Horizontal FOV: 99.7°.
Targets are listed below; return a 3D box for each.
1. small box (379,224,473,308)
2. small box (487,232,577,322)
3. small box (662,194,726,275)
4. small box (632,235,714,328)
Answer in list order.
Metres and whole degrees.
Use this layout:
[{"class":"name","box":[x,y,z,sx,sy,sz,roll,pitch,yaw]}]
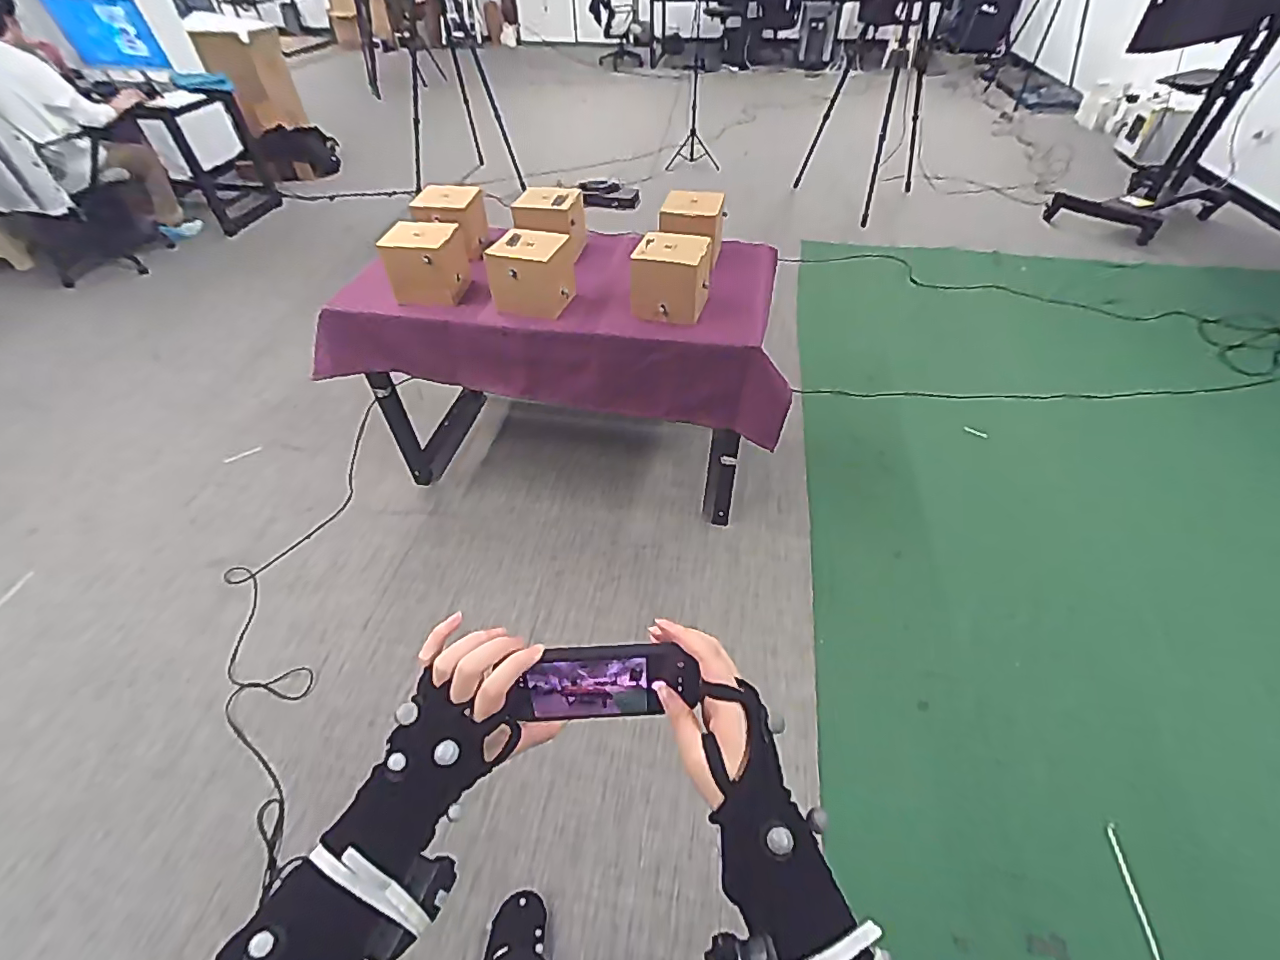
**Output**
[{"class":"small box","box":[-0.589,-0.597,1.511,0.179,0.176,0.168,4,46,3]},{"class":"small box","box":[-0.284,-0.546,1.458,0.179,0.176,0.168,13,48,11]},{"class":"small box","box":[0.161,-0.743,1.640,0.168,0.176,0.179,10,48,11]},{"class":"small box","box":[0.085,-0.522,1.430,0.179,0.176,0.168,13,47,12]}]
